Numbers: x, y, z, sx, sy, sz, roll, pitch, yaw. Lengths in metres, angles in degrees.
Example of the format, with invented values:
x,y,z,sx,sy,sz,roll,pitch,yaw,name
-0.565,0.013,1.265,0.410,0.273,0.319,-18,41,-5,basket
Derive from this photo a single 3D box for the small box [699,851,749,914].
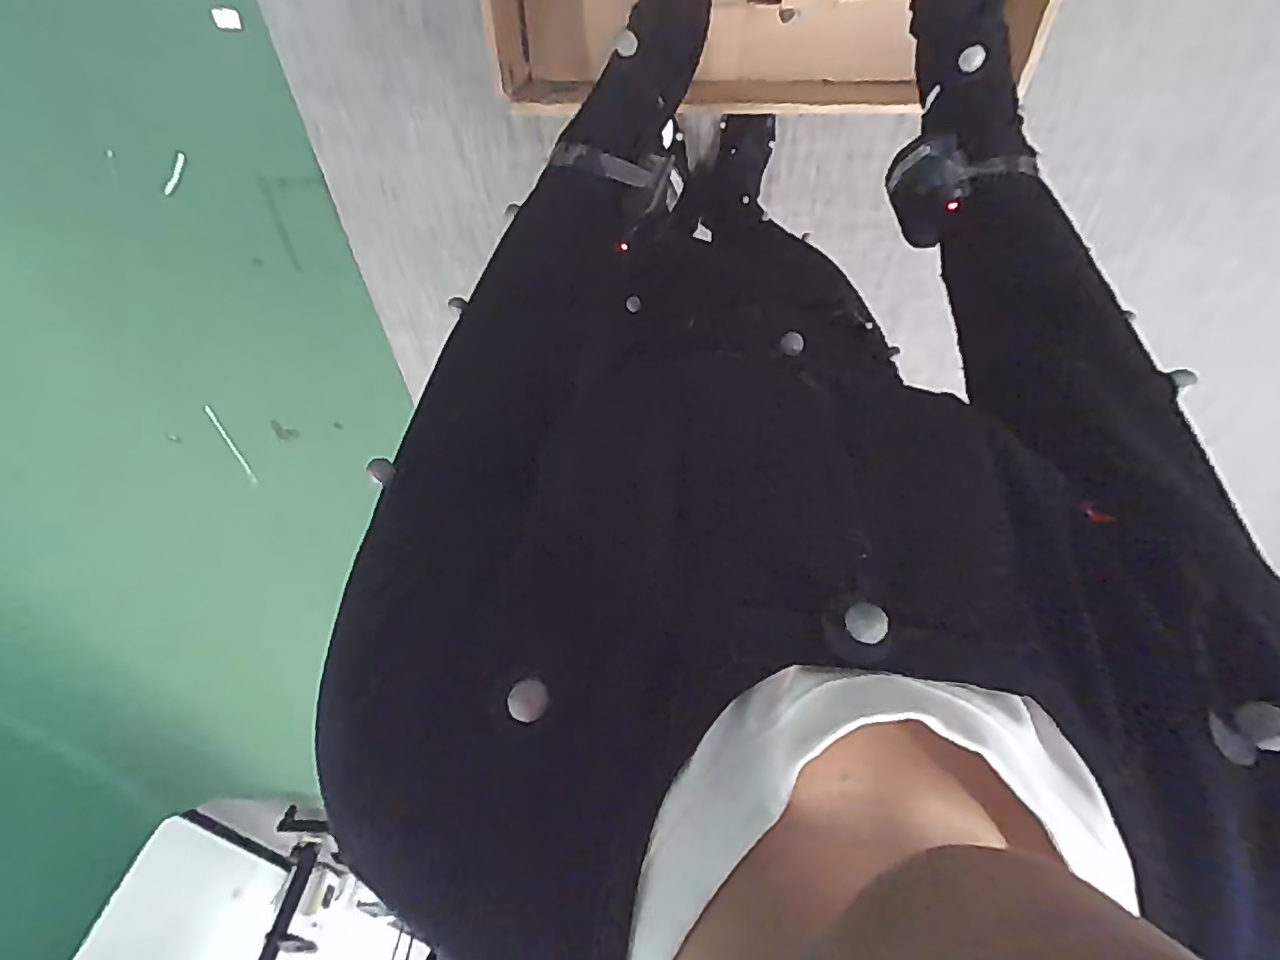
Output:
x,y,z,sx,sy,sz,roll,pitch,yaw,name
0.320,1.542,2.072,0.179,0.176,0.168,-3,132,7,small box

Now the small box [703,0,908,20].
x,y,z,sx,sy,sz,roll,pitch,yaw,name
0.137,-0.501,0.445,0.168,0.176,0.179,-1,132,3,small box
